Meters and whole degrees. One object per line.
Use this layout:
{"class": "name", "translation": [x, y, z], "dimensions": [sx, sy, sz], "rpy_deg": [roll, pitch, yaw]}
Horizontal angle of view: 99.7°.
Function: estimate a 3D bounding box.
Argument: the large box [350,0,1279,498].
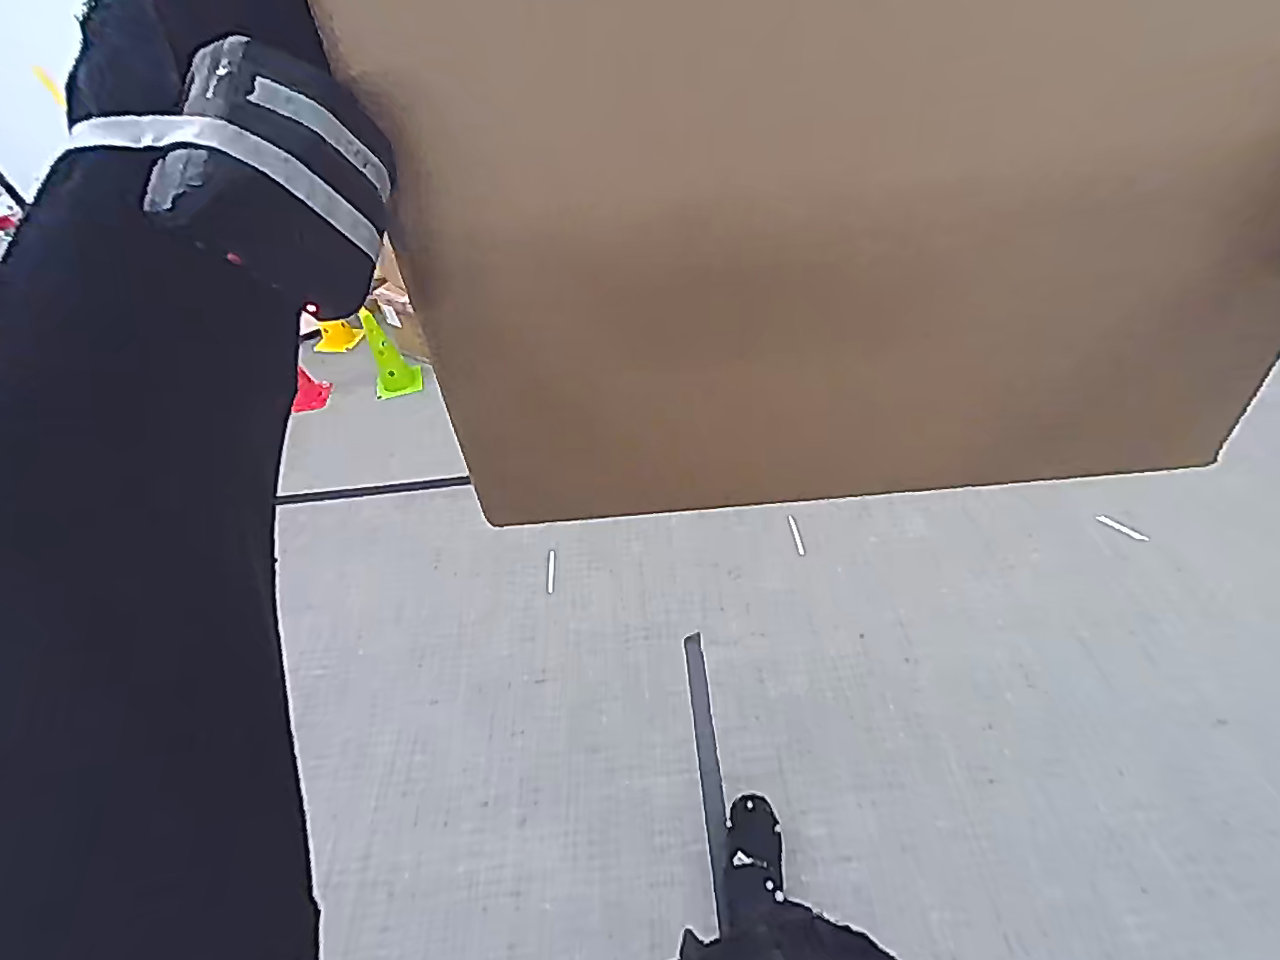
{"class": "large box", "translation": [0.092, -0.210, 0.345], "dimensions": [0.408, 0.320, 0.320], "rpy_deg": [-5, 36, 1]}
